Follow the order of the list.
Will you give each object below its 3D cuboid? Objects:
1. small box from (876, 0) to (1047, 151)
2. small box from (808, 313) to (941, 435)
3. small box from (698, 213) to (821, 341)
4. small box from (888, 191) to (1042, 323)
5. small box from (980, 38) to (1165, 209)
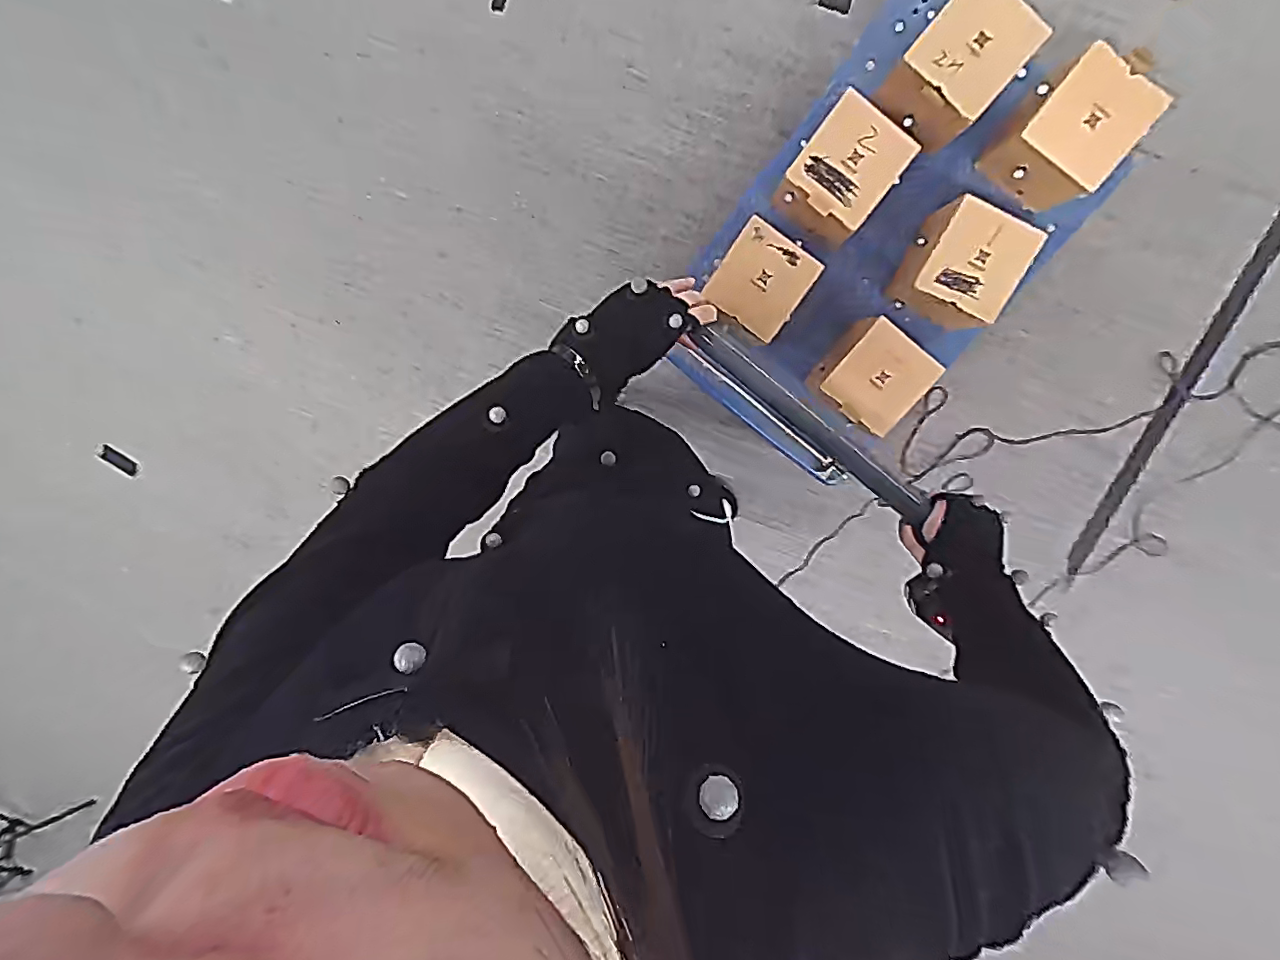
[{"bbox_3d":[0.568,-0.752,0.985,0.168,0.176,0.179,40,104,-5],"label":"small box"},{"bbox_3d":[0.470,-0.220,1.122,0.168,0.176,0.179,39,103,-5],"label":"small box"},{"bbox_3d":[0.233,-0.400,1.099,0.168,0.176,0.179,35,104,-5],"label":"small box"},{"bbox_3d":[0.618,-0.422,1.060,0.168,0.176,0.179,27,104,-2],"label":"small box"},{"bbox_3d":[0.773,-0.637,0.996,0.168,0.176,0.179,35,104,-3],"label":"small box"}]
